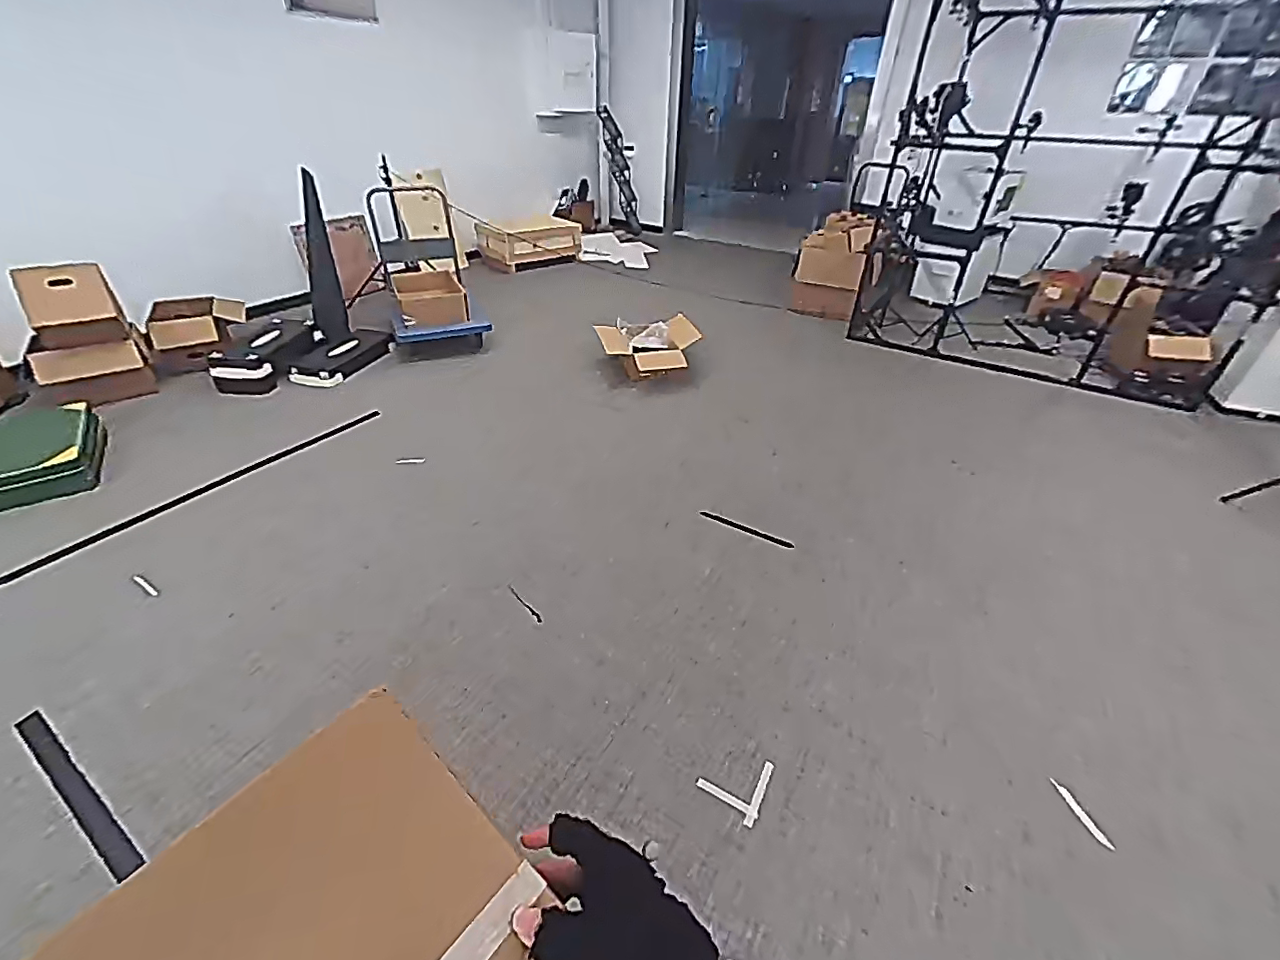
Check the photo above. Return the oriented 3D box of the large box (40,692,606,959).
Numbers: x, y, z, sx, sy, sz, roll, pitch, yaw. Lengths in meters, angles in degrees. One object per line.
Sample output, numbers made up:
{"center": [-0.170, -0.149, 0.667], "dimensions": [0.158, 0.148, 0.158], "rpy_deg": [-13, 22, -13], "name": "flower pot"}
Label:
{"center": [-0.251, 0.425, 0.356], "dimensions": [0.320, 0.320, 0.408], "rpy_deg": [47, 55, 7], "name": "large box"}
